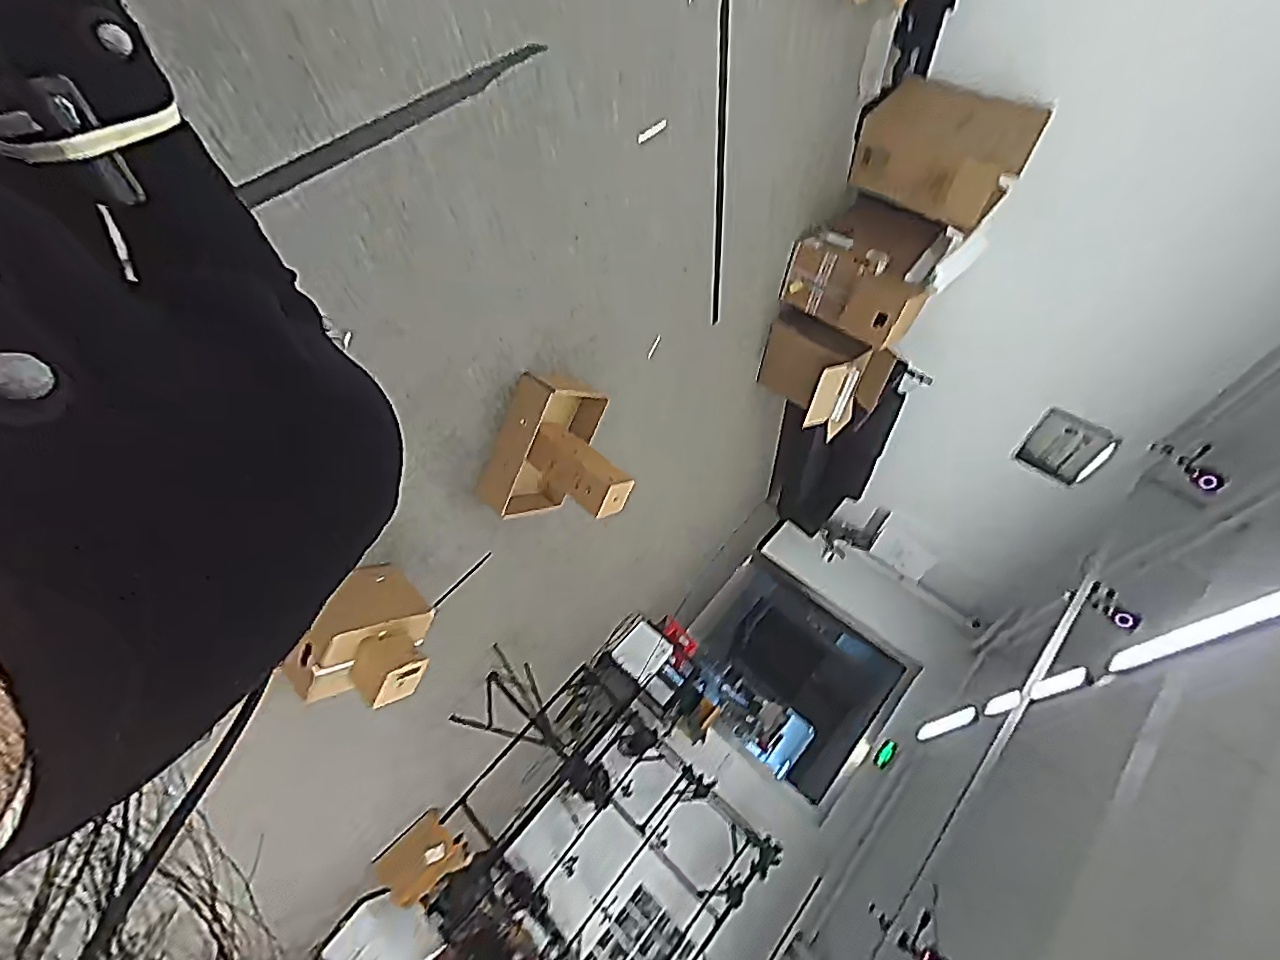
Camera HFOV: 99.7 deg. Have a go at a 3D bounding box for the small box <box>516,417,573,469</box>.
[{"bbox_3d":[-0.410,-0.167,2.389,0.179,0.176,0.168,-8,130,-57],"label":"small box"}]

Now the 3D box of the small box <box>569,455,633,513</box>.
[{"bbox_3d":[-0.169,0.011,2.257,0.179,0.176,0.168,-15,137,-54],"label":"small box"}]

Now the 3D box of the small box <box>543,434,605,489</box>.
[{"bbox_3d":[-0.288,-0.084,2.323,0.179,0.176,0.168,-16,138,-56],"label":"small box"}]
